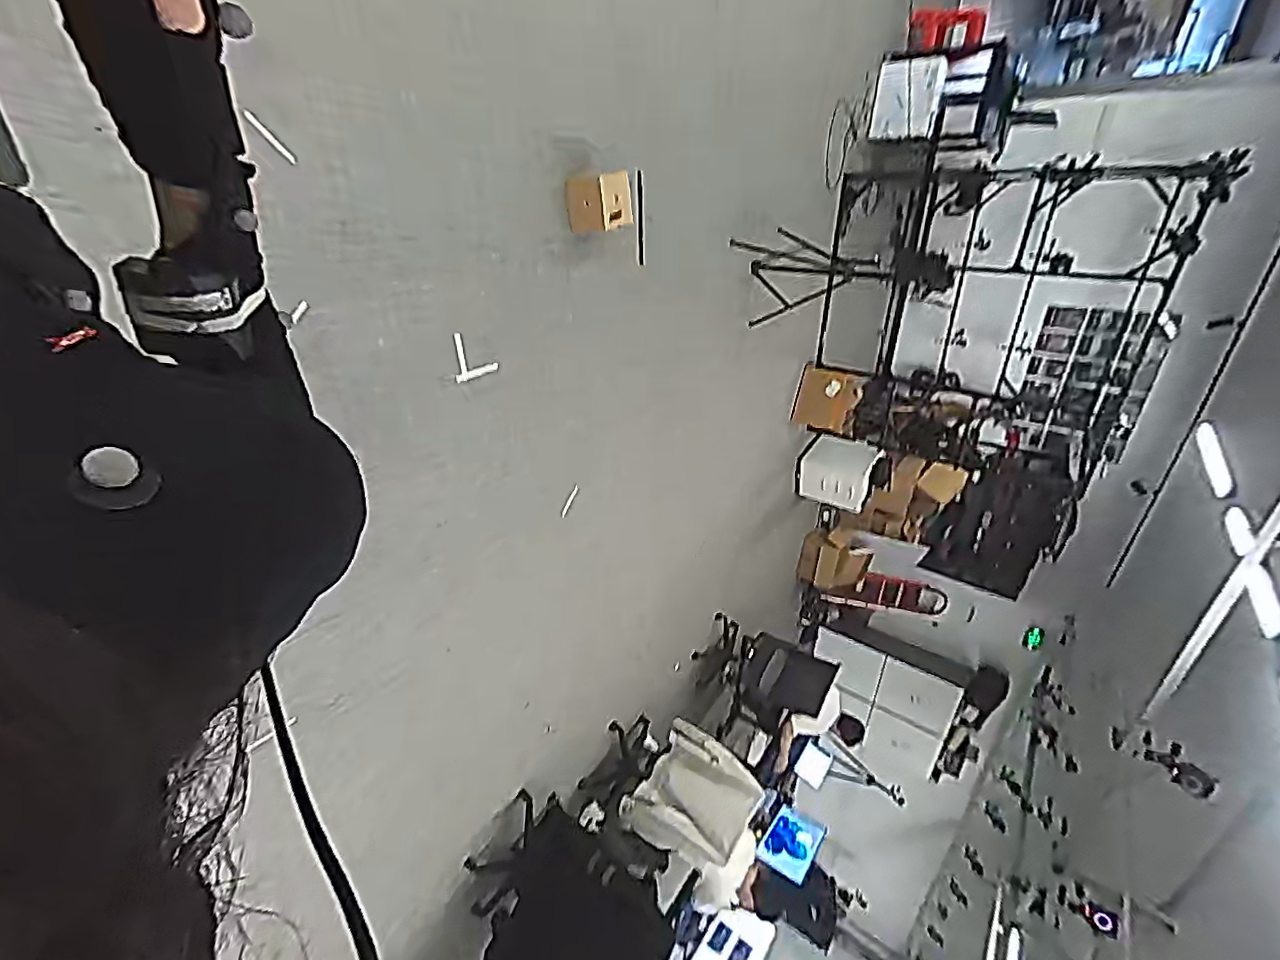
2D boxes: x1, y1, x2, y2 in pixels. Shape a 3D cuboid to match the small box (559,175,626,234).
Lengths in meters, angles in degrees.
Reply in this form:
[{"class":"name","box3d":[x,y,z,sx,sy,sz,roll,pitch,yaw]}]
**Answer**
[{"class":"small box","box3d":[-0.173,-1.005,1.967,0.168,0.176,0.179,-39,135,-41]}]
